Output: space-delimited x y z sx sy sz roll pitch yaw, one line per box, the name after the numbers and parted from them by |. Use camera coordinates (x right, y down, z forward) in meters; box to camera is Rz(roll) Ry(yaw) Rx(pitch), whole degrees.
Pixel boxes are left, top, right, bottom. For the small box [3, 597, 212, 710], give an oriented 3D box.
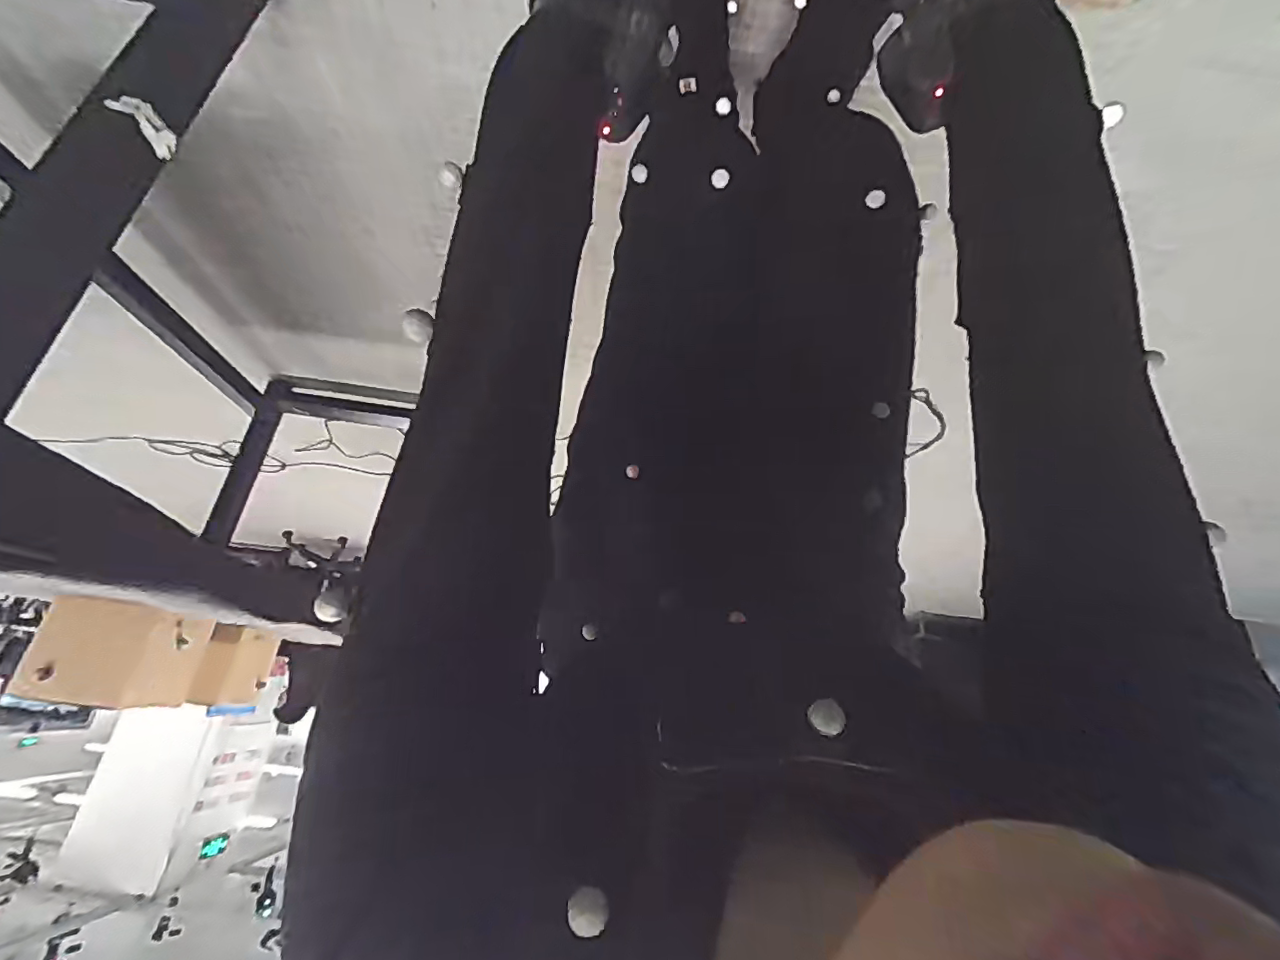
-0.929 0.310 0.967 0.179 0.176 0.168 8 158 -4 | small box
